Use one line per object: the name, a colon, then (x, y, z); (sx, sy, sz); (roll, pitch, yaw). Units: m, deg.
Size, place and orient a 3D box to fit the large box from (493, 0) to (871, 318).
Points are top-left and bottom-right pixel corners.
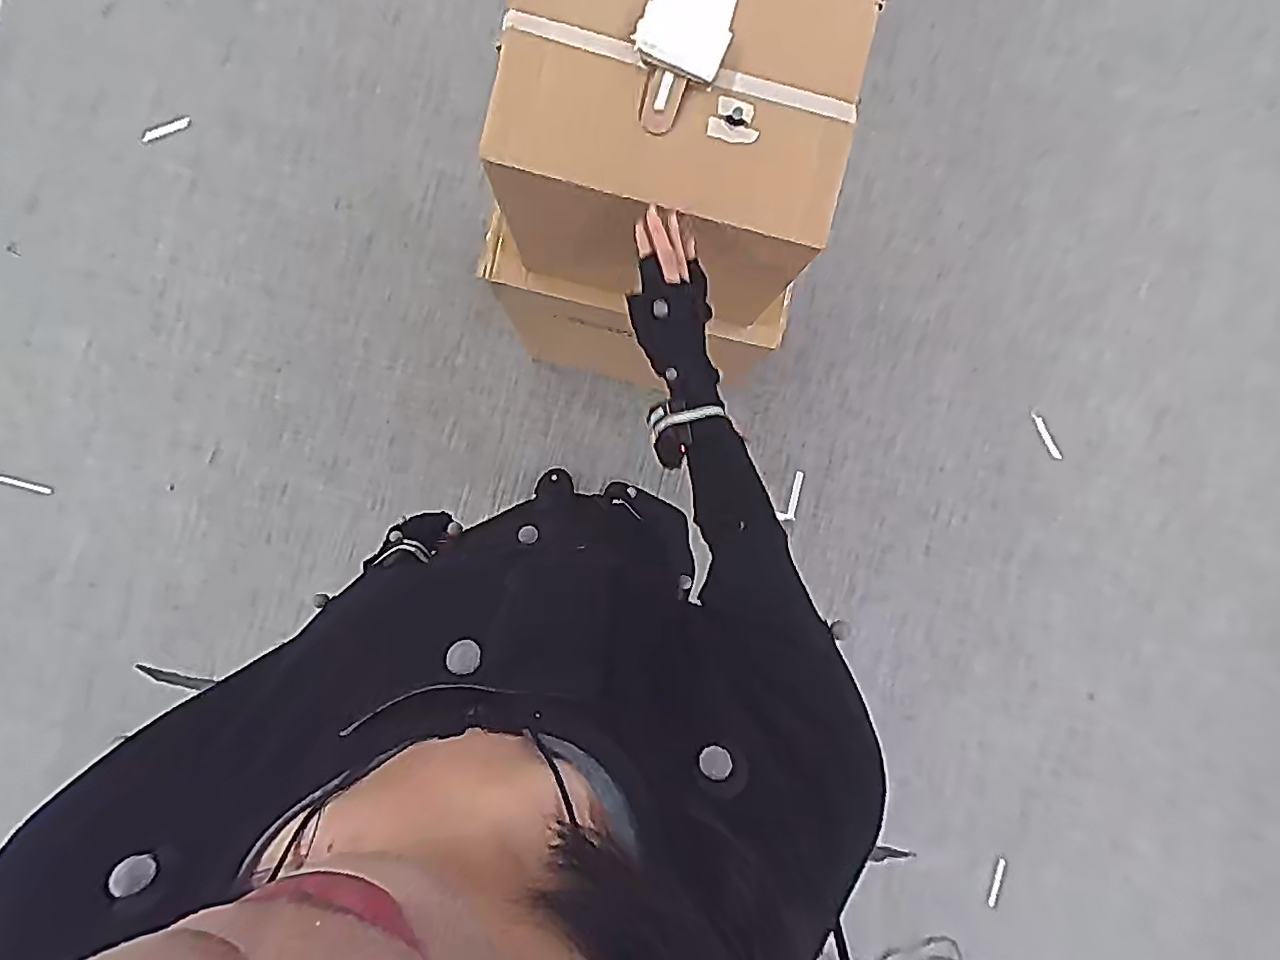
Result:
large box: (0.042, -0.467, 0.777); (0.408, 0.320, 0.320); (13, 89, -4)
